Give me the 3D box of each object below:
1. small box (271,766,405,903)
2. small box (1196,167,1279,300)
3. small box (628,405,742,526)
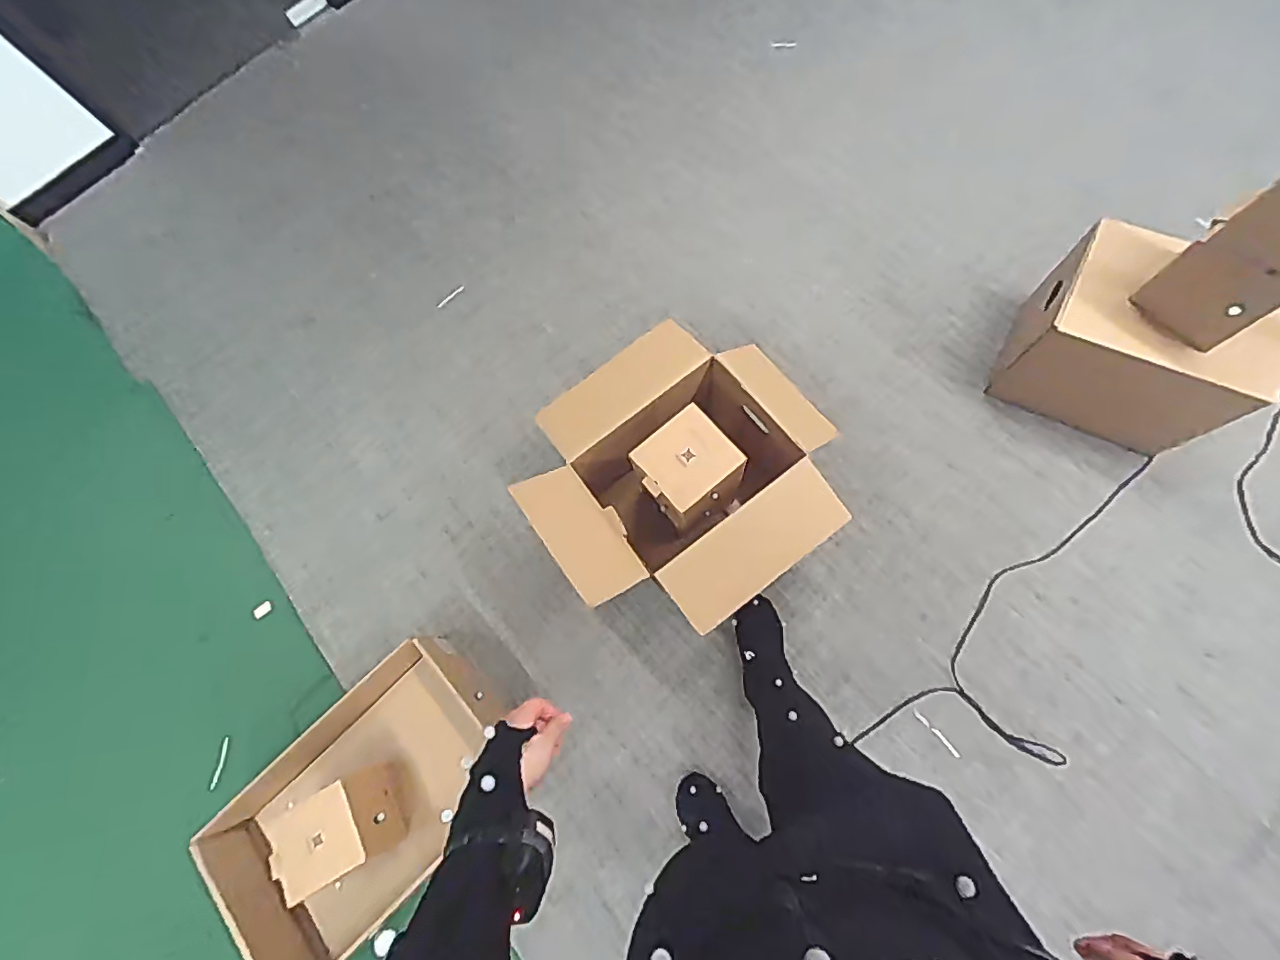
[{"bbox_3d":[-0.637,0.749,1.167,0.179,0.176,0.168,-31,71,-4],"label":"small box"},{"bbox_3d":[1.091,-0.436,0.881,0.179,0.176,0.168,-39,72,-8],"label":"small box"},{"bbox_3d":[0.099,-0.023,1.173,0.179,0.176,0.168,-40,74,-7],"label":"small box"}]
